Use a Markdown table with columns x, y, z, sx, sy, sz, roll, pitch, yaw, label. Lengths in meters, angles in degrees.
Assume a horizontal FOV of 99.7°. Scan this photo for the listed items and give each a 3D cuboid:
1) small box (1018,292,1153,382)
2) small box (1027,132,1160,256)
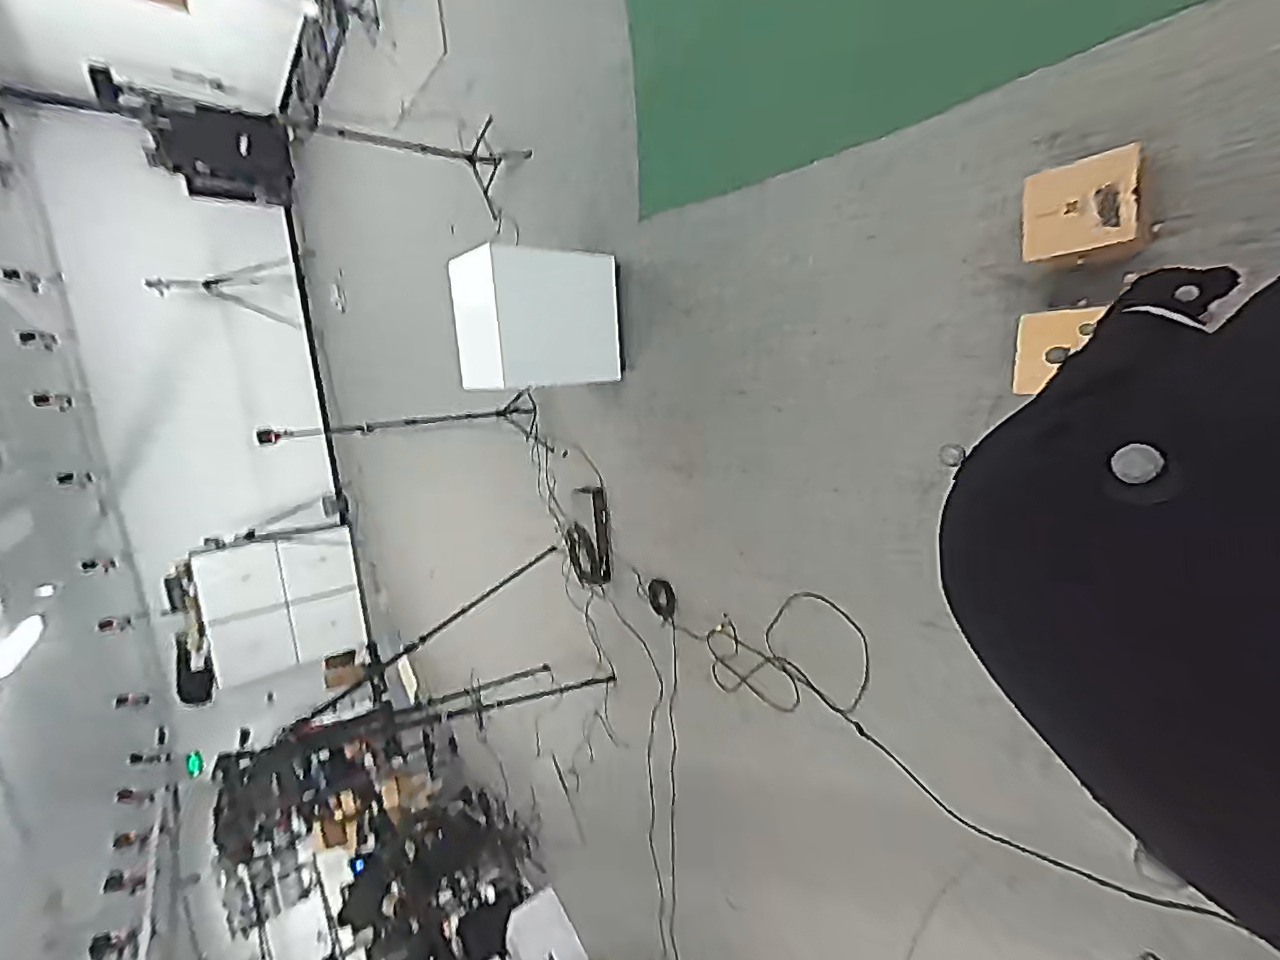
| x | y | z | sx | sy | sz | roll | pitch | yaw | label |
| --- | --- | --- | --- | --- | --- | --- | --- | --- | --- |
| 0.917 | -0.288 | 1.117 | 0.179 | 0.176 | 0.168 | 10 | 108 | 50 | small box |
| 0.896 | -0.551 | 1.069 | 0.179 | 0.176 | 0.168 | 6 | 105 | 51 | small box |
